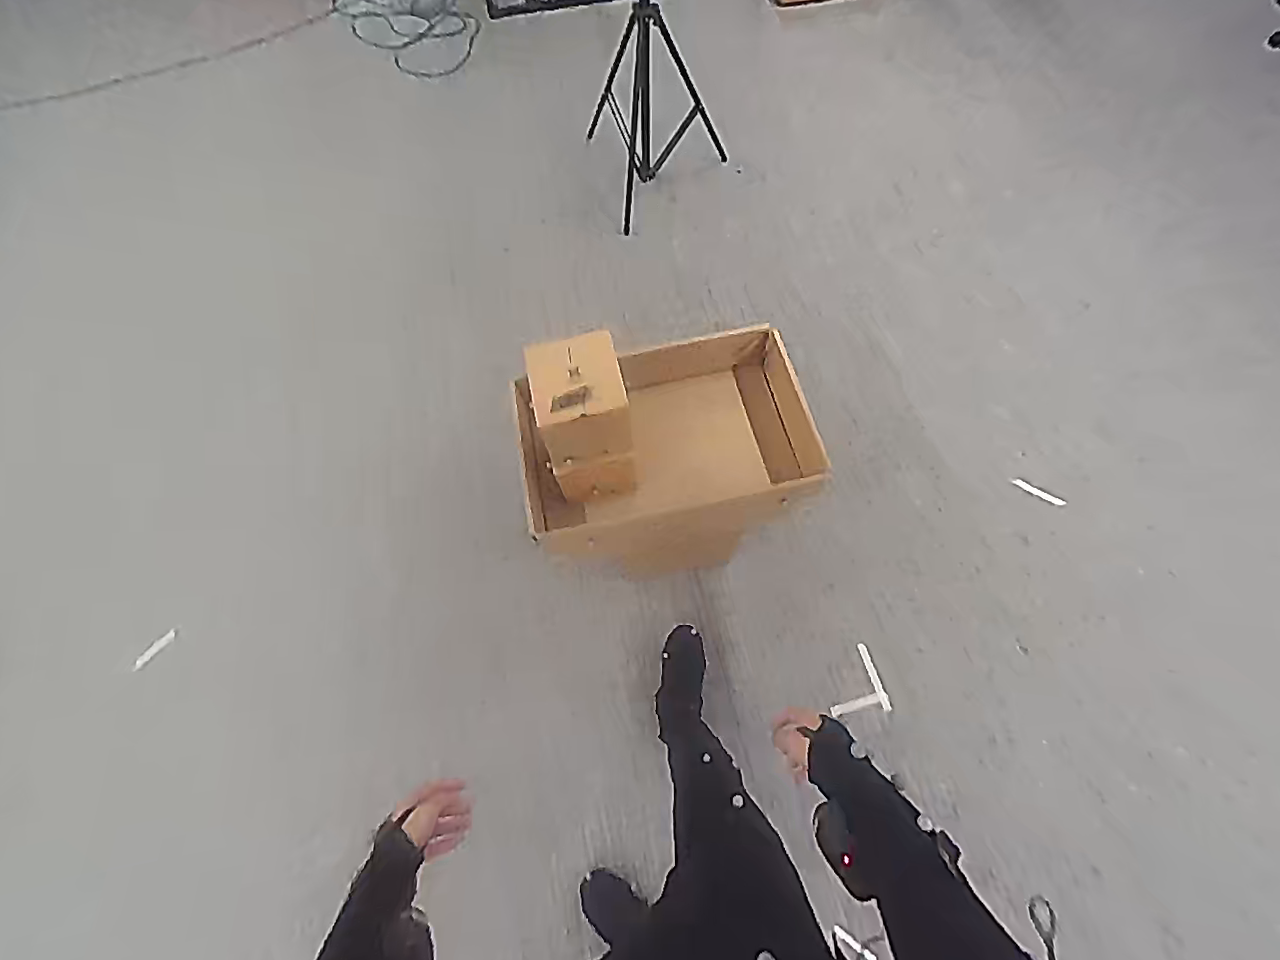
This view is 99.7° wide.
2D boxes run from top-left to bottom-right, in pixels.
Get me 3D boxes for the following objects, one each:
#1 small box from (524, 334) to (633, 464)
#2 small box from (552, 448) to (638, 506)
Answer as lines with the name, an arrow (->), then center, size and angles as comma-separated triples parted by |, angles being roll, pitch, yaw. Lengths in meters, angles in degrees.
small box -> -0.112, -0.144, 1.035 | 0.168, 0.176, 0.179 | -13, 66, -3
small box -> -0.104, -0.065, 1.179 | 0.168, 0.176, 0.179 | -14, 66, -3
